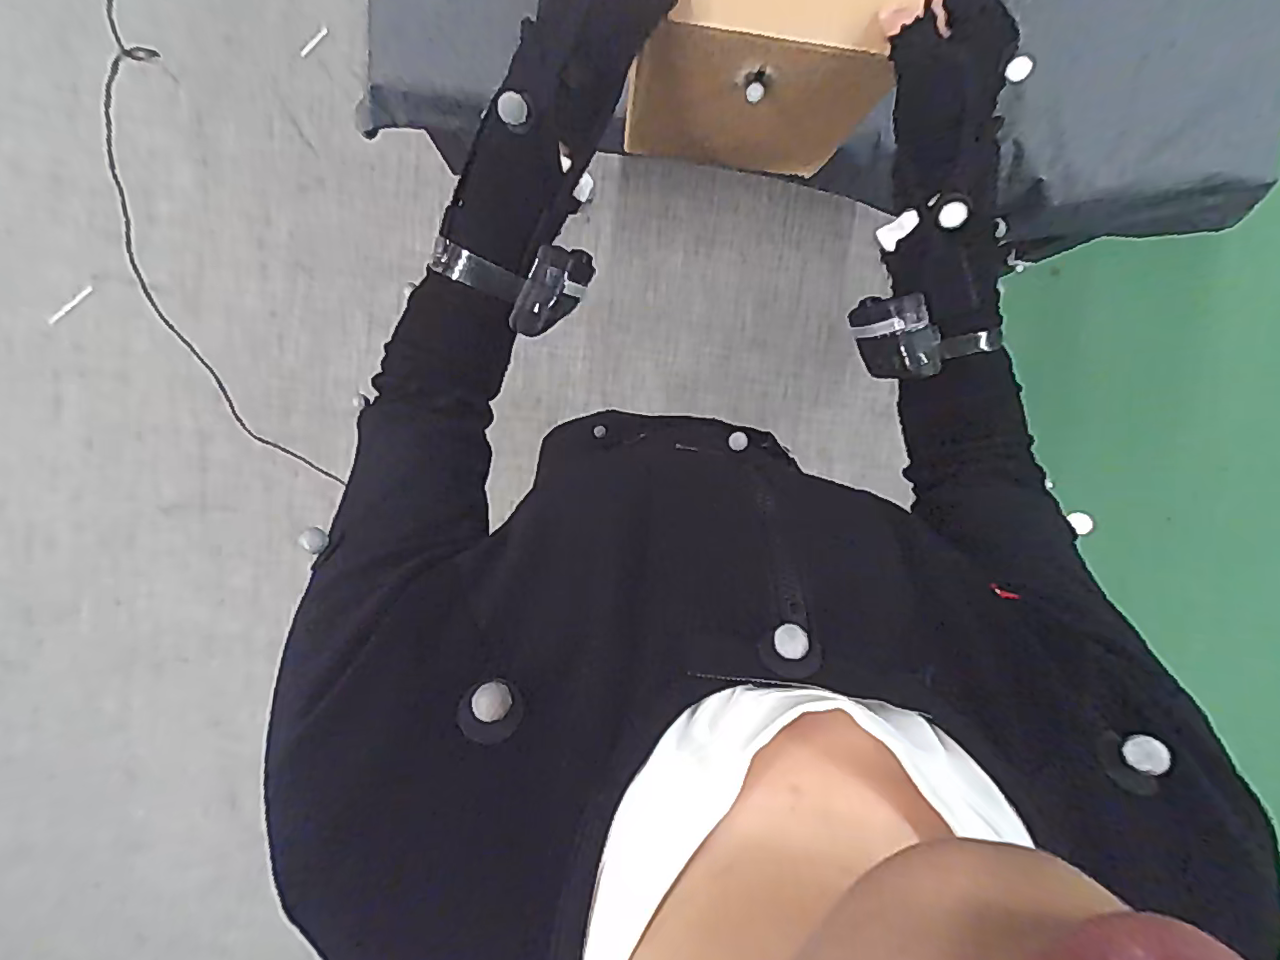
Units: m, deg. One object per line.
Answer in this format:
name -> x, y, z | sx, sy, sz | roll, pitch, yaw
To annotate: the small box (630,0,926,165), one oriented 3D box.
small box -> 0.088, -0.362, 0.402 | 0.179, 0.176, 0.168 | 3, 97, -7
